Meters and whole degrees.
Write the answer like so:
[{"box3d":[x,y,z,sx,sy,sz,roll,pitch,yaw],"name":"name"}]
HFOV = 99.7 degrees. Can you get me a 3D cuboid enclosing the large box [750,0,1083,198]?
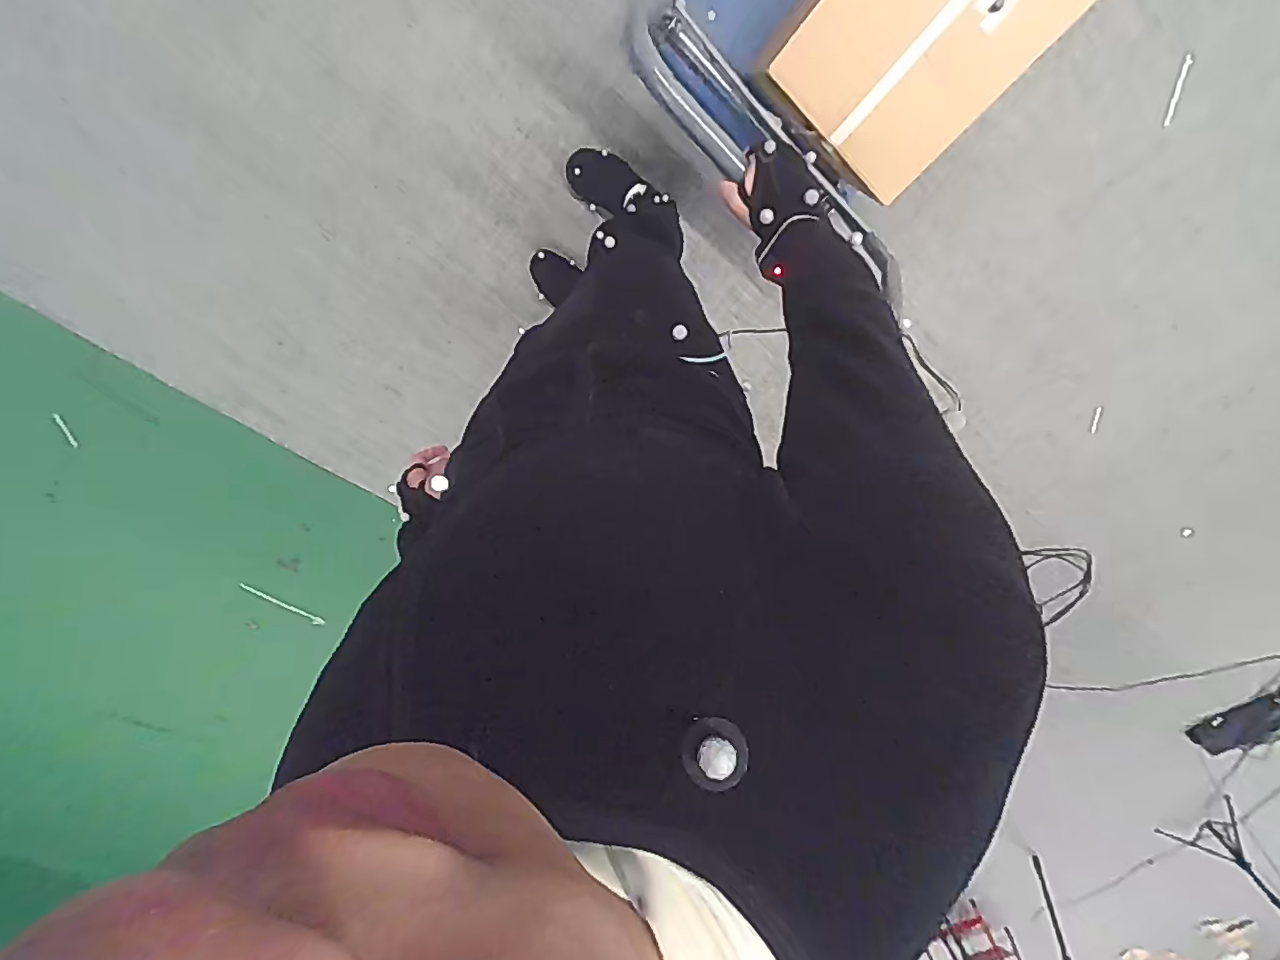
[{"box3d":[0.448,-0.783,0.928,0.320,0.320,0.408,34,121,-21],"name":"large box"}]
